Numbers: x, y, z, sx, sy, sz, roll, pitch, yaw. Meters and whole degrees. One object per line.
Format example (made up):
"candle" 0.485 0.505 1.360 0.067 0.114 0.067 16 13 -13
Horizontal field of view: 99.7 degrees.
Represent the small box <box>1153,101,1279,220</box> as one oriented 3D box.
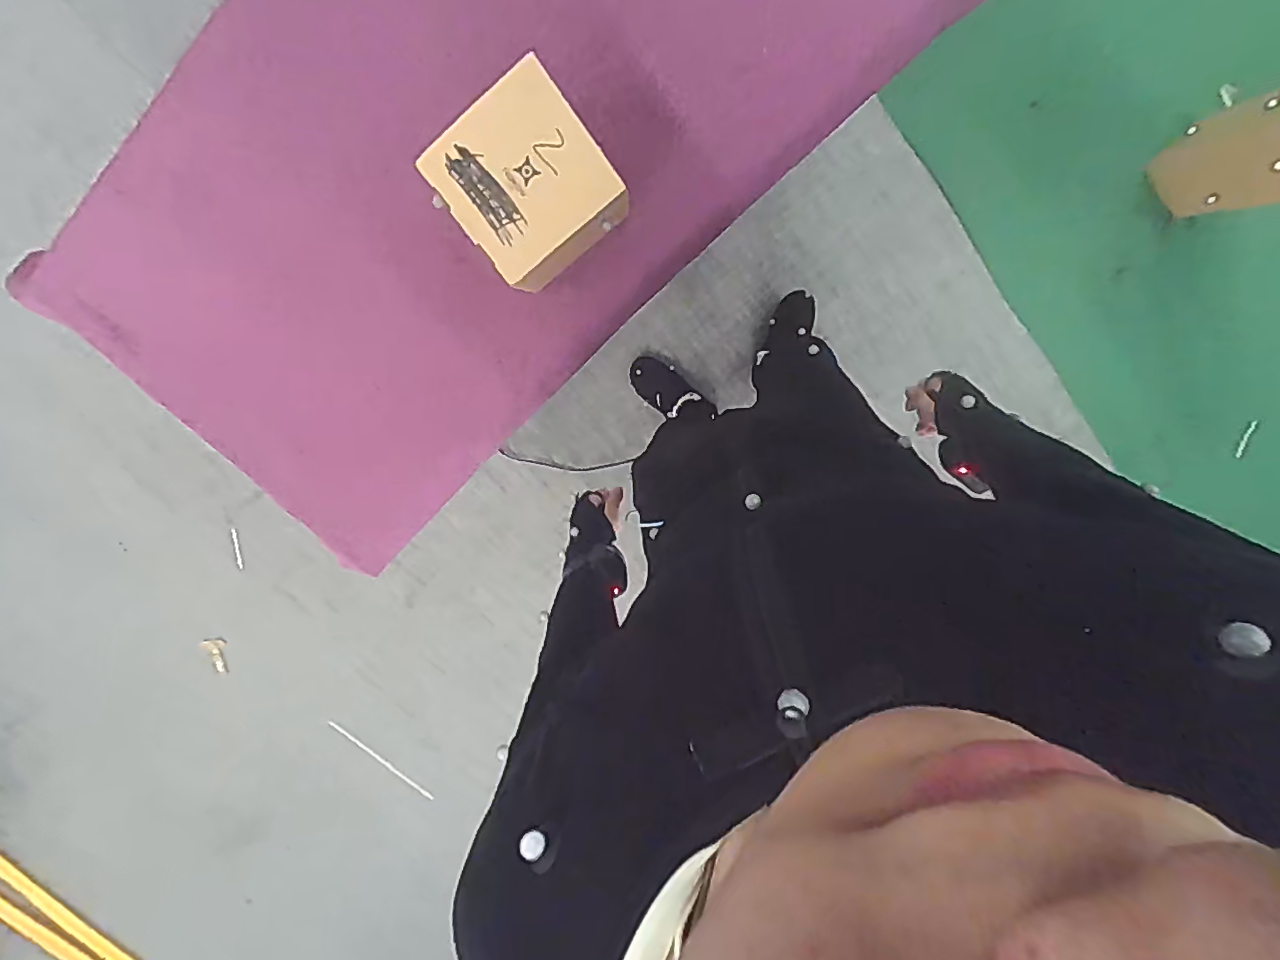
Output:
"small box" 1.424 -0.758 1.309 0.168 0.176 0.179 -44 102 12
